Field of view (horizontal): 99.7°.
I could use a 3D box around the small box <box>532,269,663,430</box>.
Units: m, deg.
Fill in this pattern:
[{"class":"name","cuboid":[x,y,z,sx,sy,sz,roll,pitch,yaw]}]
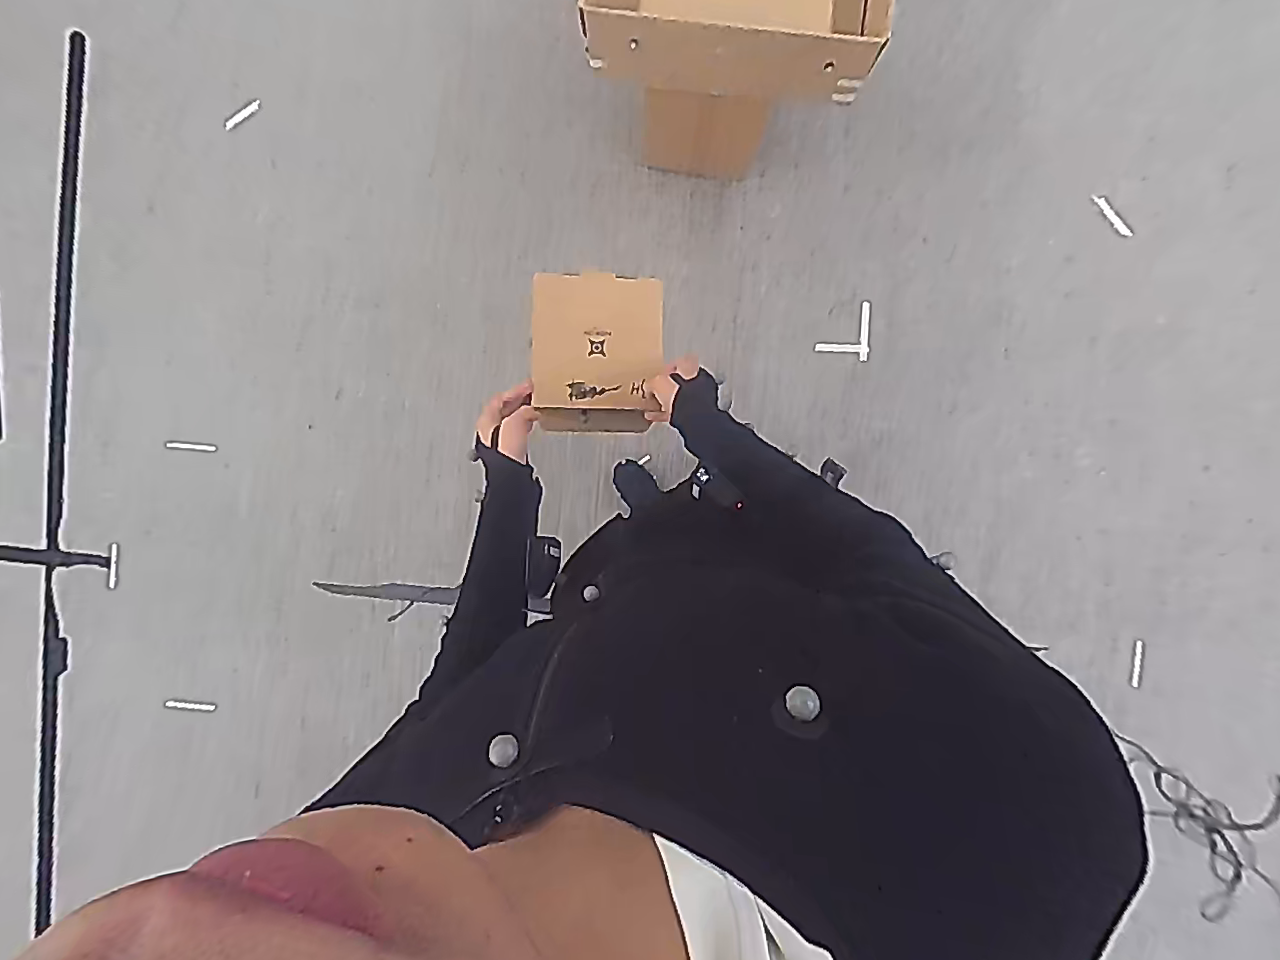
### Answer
[{"class":"small box","cuboid":[-0.061,-0.174,0.765,0.168,0.176,0.179,1,86,-6]}]
